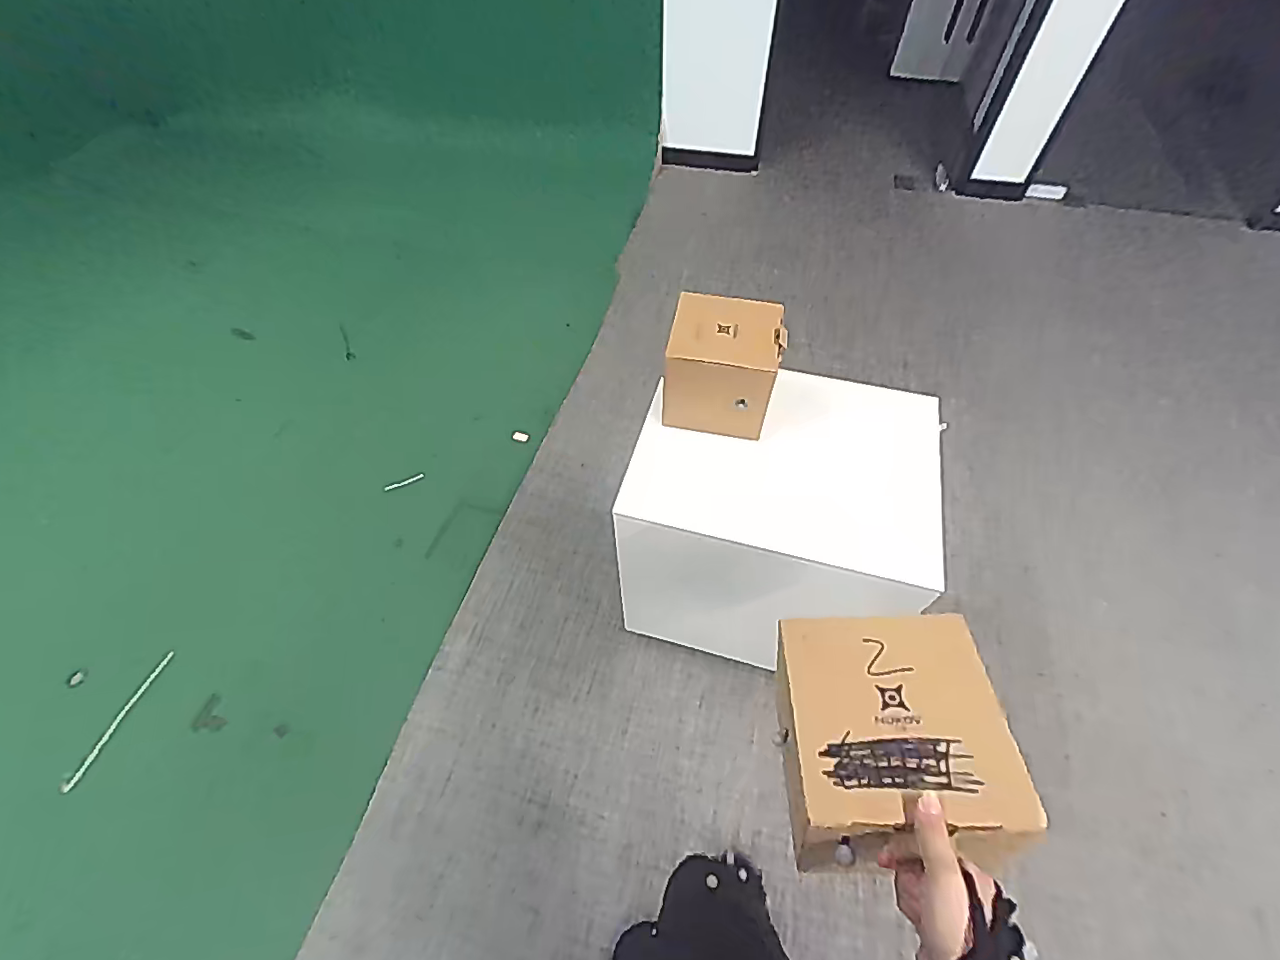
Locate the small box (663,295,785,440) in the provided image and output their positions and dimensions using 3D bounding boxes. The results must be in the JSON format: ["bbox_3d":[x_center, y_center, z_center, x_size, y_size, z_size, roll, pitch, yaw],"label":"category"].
[{"bbox_3d":[0.140,-0.188,0.928,0.179,0.176,0.168,9,55,7],"label":"small box"}]
